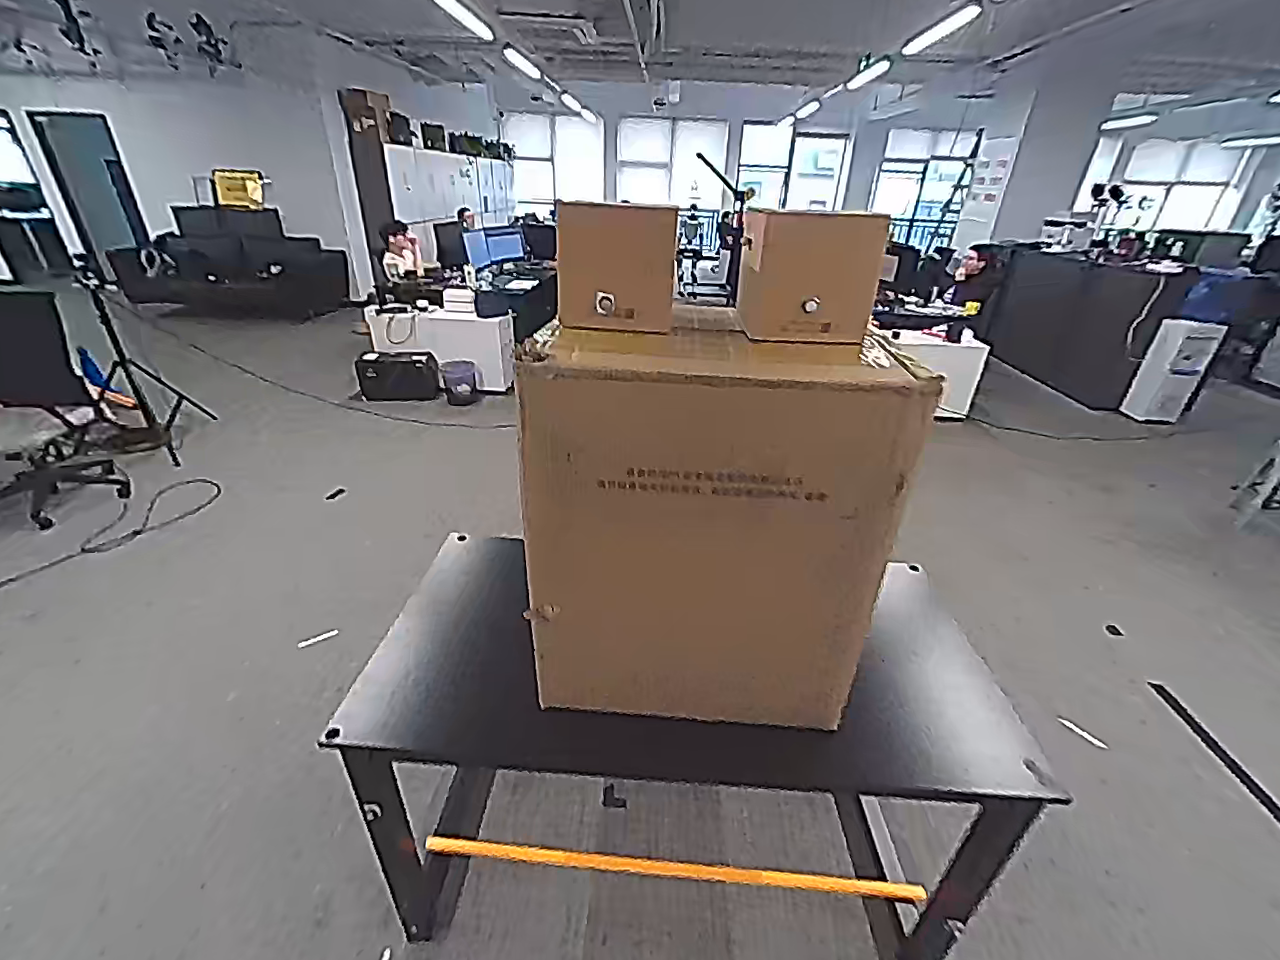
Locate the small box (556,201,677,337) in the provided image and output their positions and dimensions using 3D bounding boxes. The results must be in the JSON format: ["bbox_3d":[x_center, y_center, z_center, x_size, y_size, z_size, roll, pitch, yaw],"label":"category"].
[{"bbox_3d":[-0.033,-0.327,0.827,0.168,0.176,0.179,2,29,0],"label":"small box"}]

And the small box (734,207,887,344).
[{"bbox_3d":[0.239,-0.310,0.808,0.168,0.176,0.179,1,28,1],"label":"small box"}]
